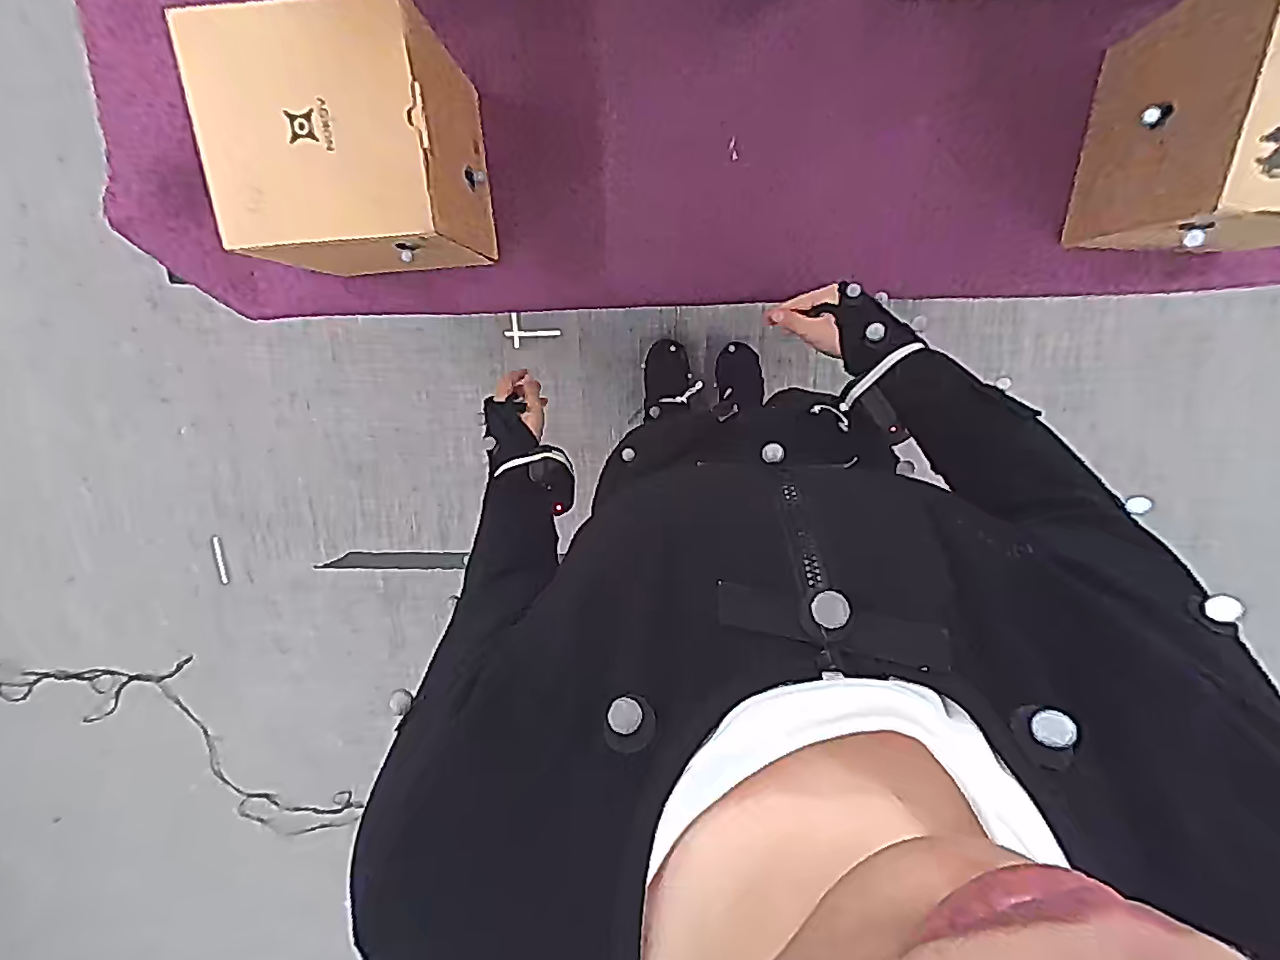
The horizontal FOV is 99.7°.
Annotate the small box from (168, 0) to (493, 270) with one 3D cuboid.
[{"bbox_3d":[-0.251,-0.291,0.486,0.179,0.176,0.168,-5,105,2],"label":"small box"}]
